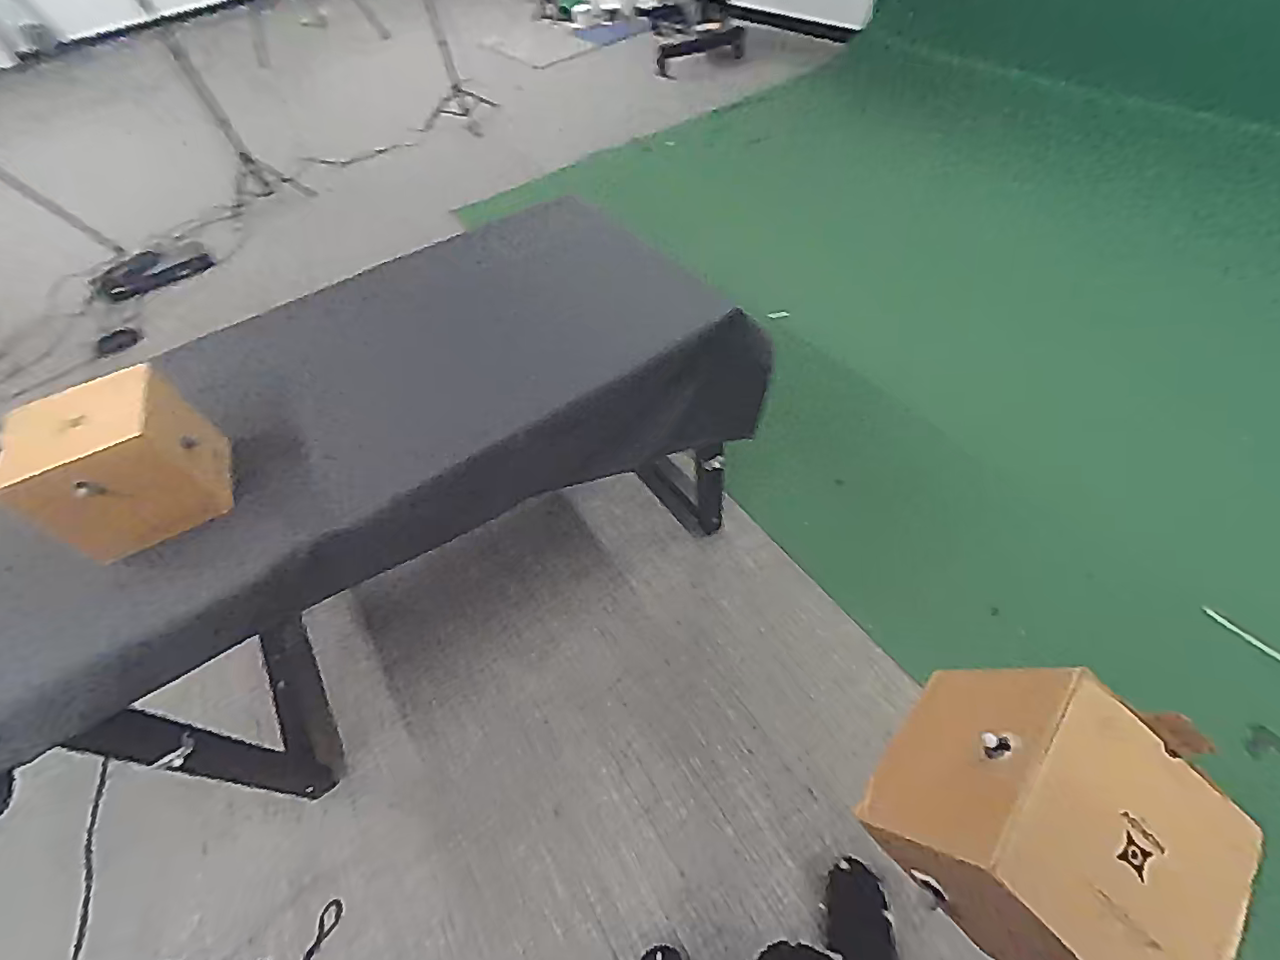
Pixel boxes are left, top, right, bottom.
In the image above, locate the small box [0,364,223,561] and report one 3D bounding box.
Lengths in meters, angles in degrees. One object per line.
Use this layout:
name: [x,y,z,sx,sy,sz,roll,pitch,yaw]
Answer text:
small box: [-0.711,-0.021,0.741,0.179,0.176,0.168,-27,54,-13]
